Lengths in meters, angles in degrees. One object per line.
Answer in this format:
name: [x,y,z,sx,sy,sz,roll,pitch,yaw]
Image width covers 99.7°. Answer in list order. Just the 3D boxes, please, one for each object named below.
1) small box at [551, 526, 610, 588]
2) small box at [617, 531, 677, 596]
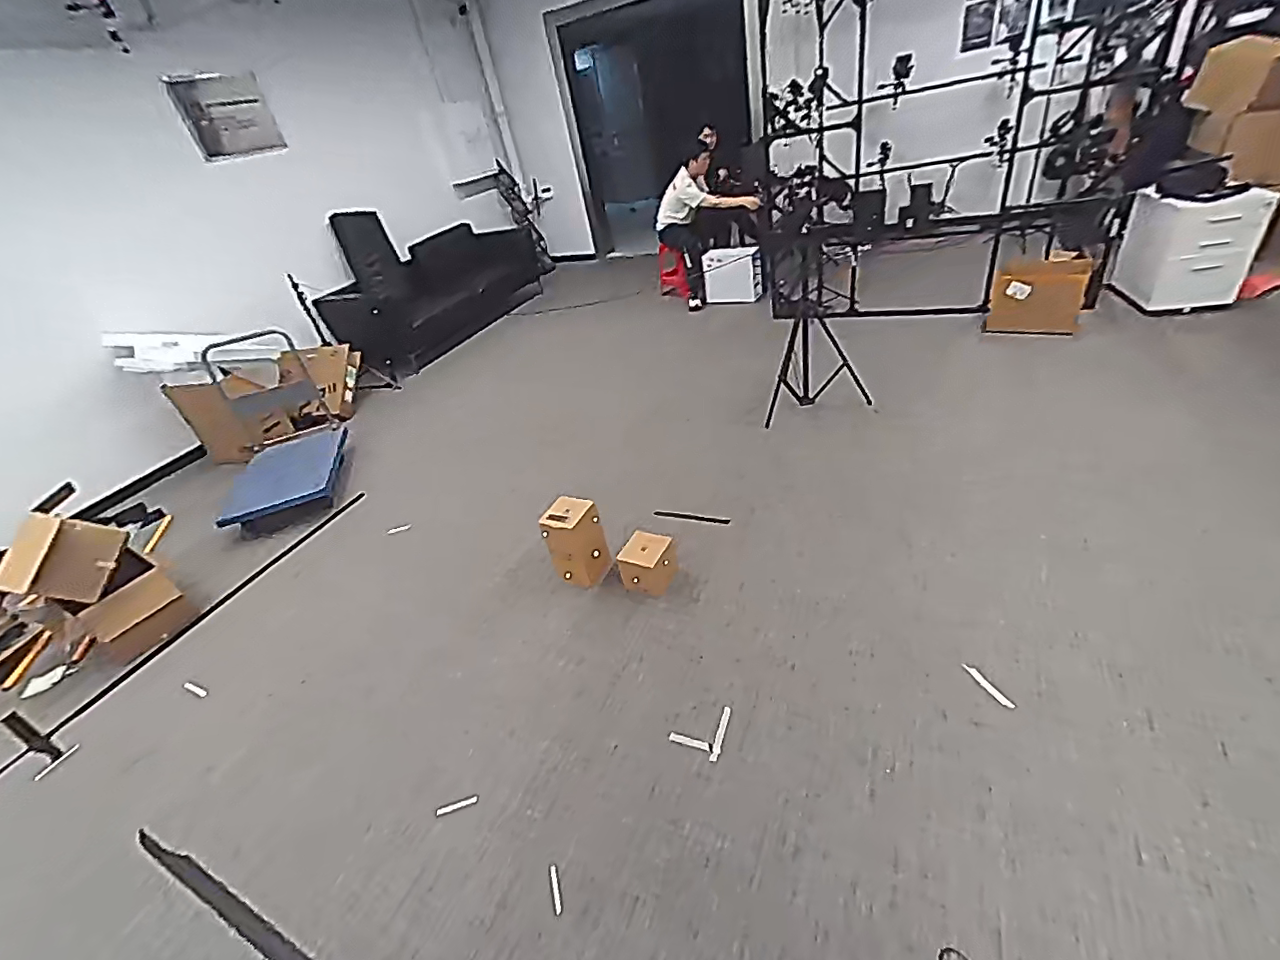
small box: [-0.241,0.319,2.254,0.168,0.176,0.179,8,40,29]
small box: [0.035,0.332,2.137,0.168,0.176,0.179,10,40,29]
